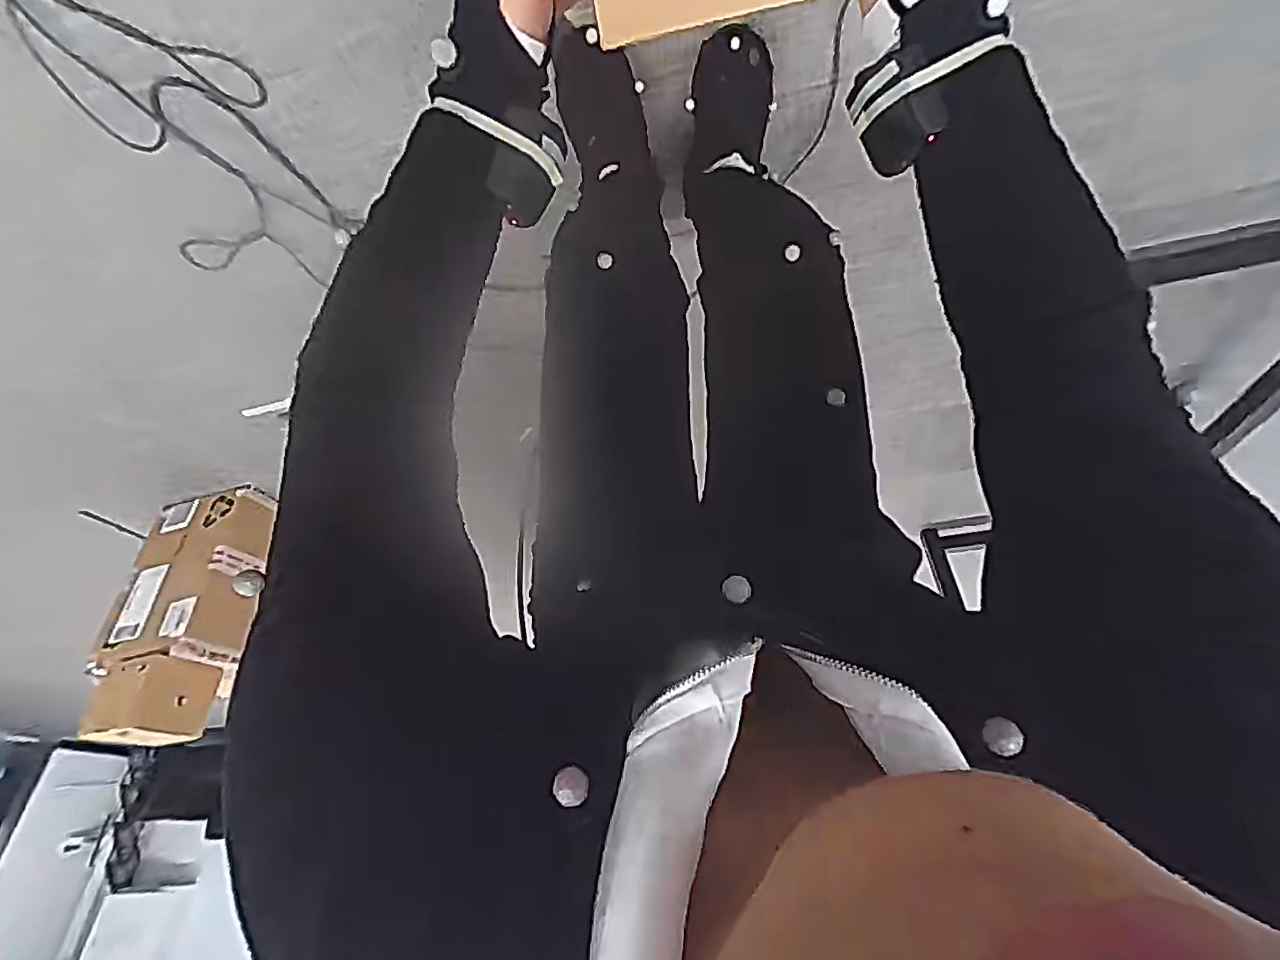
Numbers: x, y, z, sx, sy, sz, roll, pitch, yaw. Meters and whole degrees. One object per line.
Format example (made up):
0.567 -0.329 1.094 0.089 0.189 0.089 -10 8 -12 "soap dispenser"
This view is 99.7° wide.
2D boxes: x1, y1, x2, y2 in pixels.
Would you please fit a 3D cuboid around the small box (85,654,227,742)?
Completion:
-1.196 0.542 1.350 0.168 0.176 0.179 -15 145 14 "small box"
